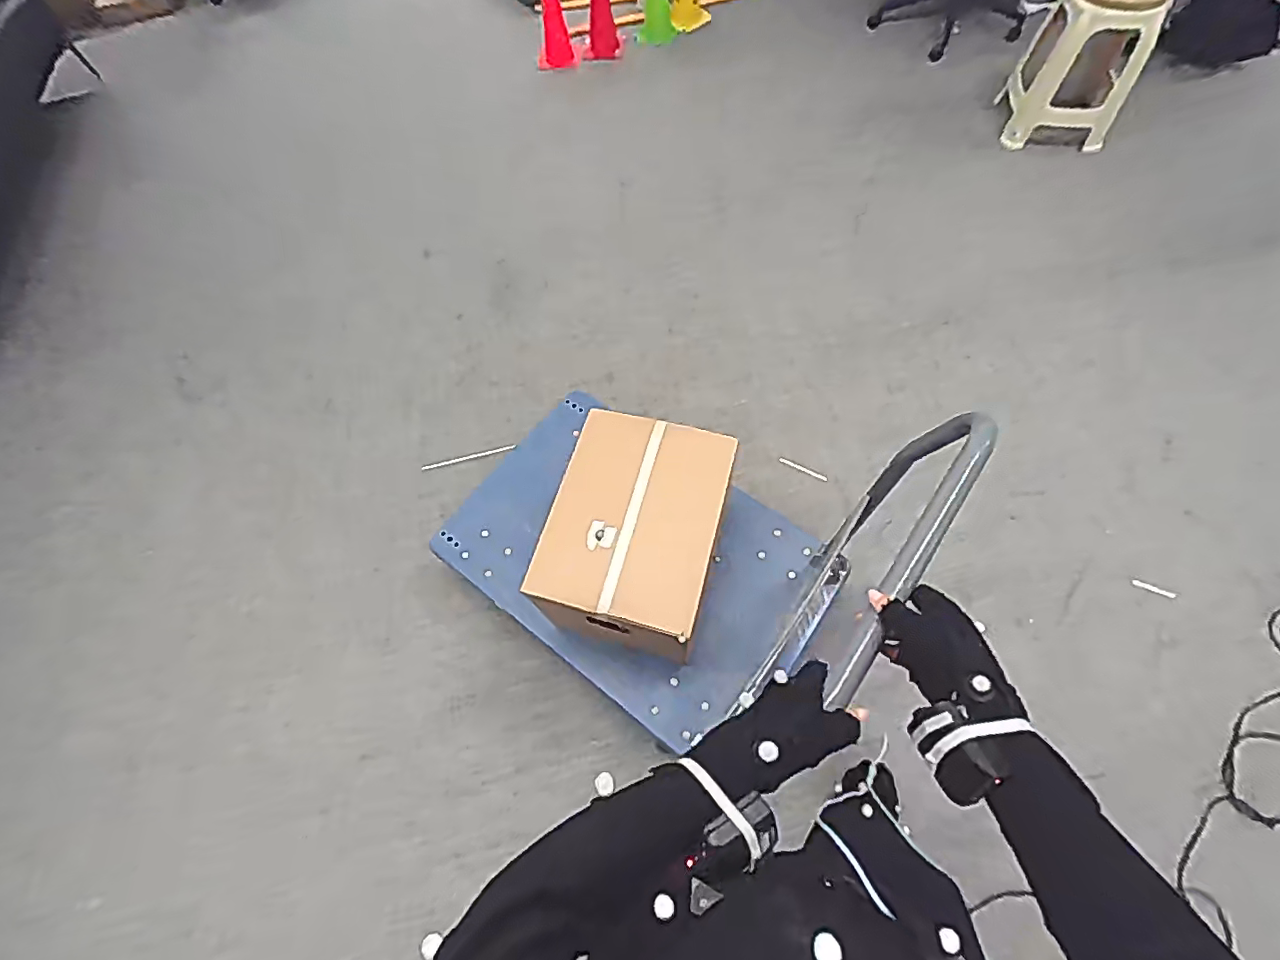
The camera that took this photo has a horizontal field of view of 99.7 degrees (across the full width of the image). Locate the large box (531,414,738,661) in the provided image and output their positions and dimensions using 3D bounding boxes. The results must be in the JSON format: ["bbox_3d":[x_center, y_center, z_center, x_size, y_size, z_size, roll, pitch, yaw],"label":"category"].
[{"bbox_3d":[0.009,0.128,1.152,0.320,0.320,0.408,13,66,11],"label":"large box"}]
